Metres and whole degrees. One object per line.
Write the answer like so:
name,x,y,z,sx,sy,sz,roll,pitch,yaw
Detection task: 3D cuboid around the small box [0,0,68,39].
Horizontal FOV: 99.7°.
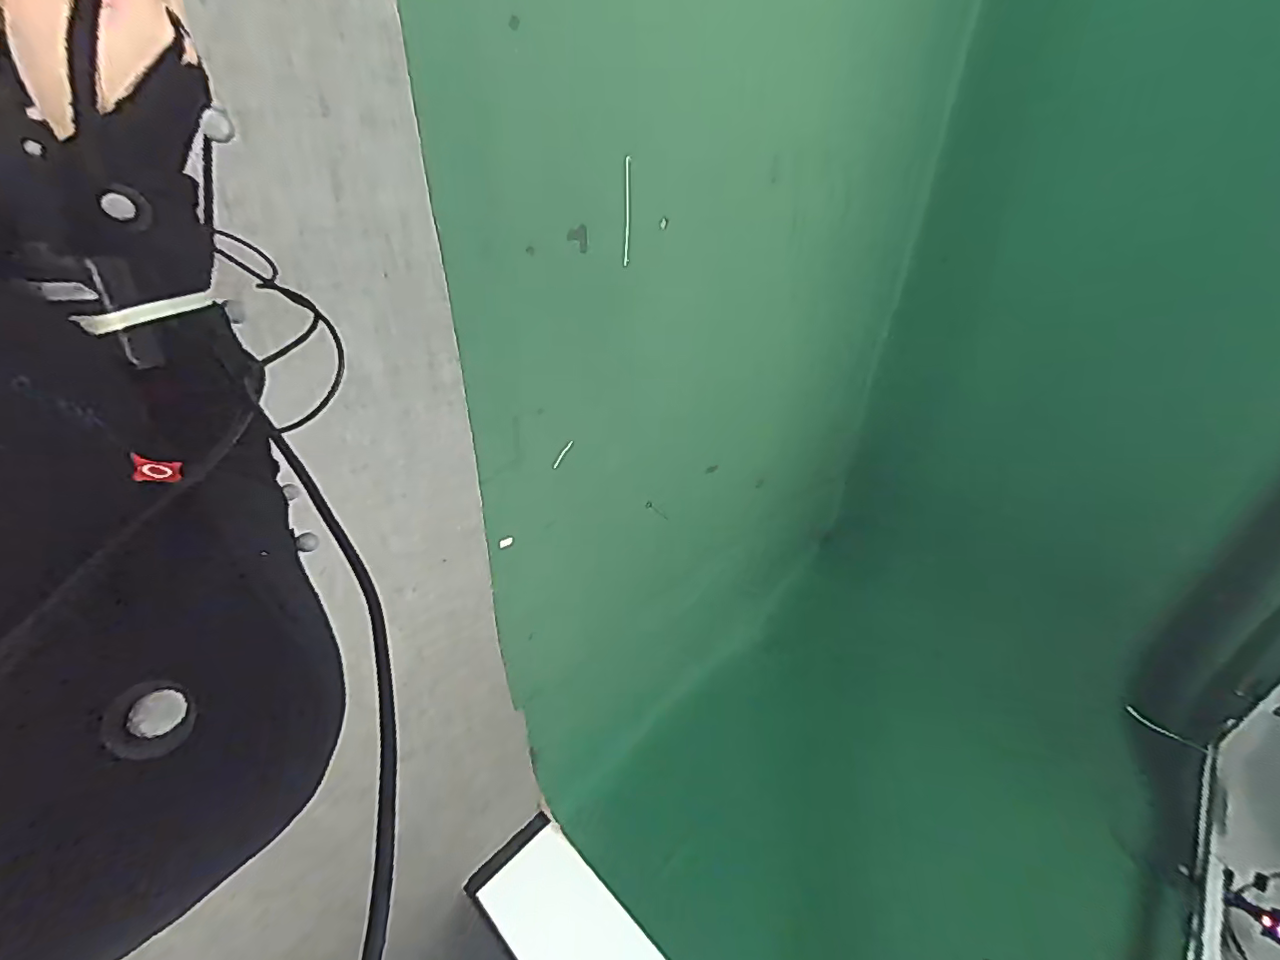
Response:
small box,-0.346,-0.327,0.215,0.168,0.176,0.179,7,111,-56
